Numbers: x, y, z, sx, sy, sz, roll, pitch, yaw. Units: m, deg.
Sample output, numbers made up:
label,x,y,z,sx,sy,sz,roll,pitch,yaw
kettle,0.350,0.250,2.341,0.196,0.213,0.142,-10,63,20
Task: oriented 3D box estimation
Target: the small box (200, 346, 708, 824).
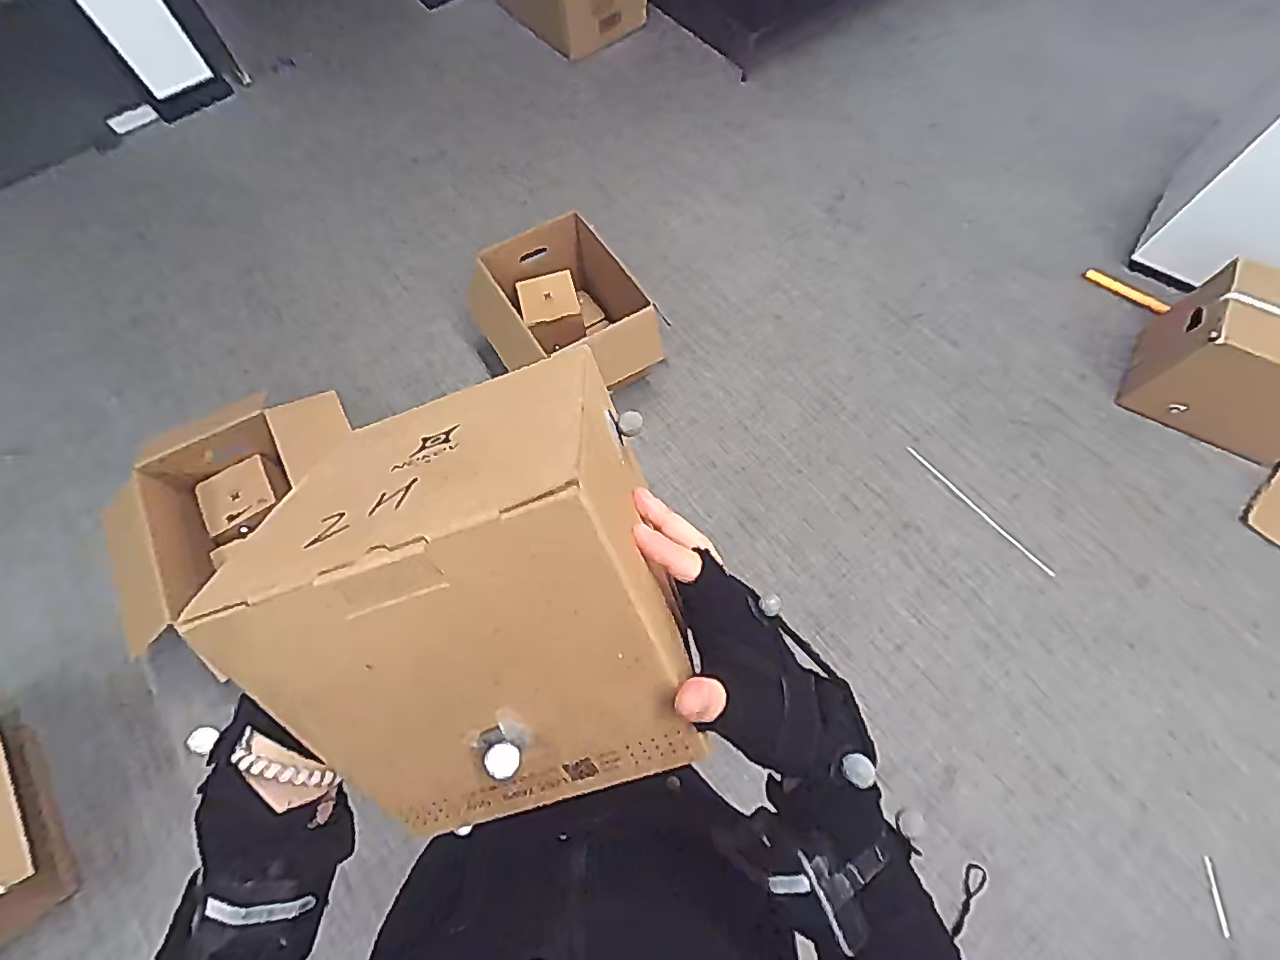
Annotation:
label,x,y,z,sx,sy,sz,roll,pitch,yaw
small box,-0.071,0.050,0.306,0.168,0.176,0.179,-19,30,6
